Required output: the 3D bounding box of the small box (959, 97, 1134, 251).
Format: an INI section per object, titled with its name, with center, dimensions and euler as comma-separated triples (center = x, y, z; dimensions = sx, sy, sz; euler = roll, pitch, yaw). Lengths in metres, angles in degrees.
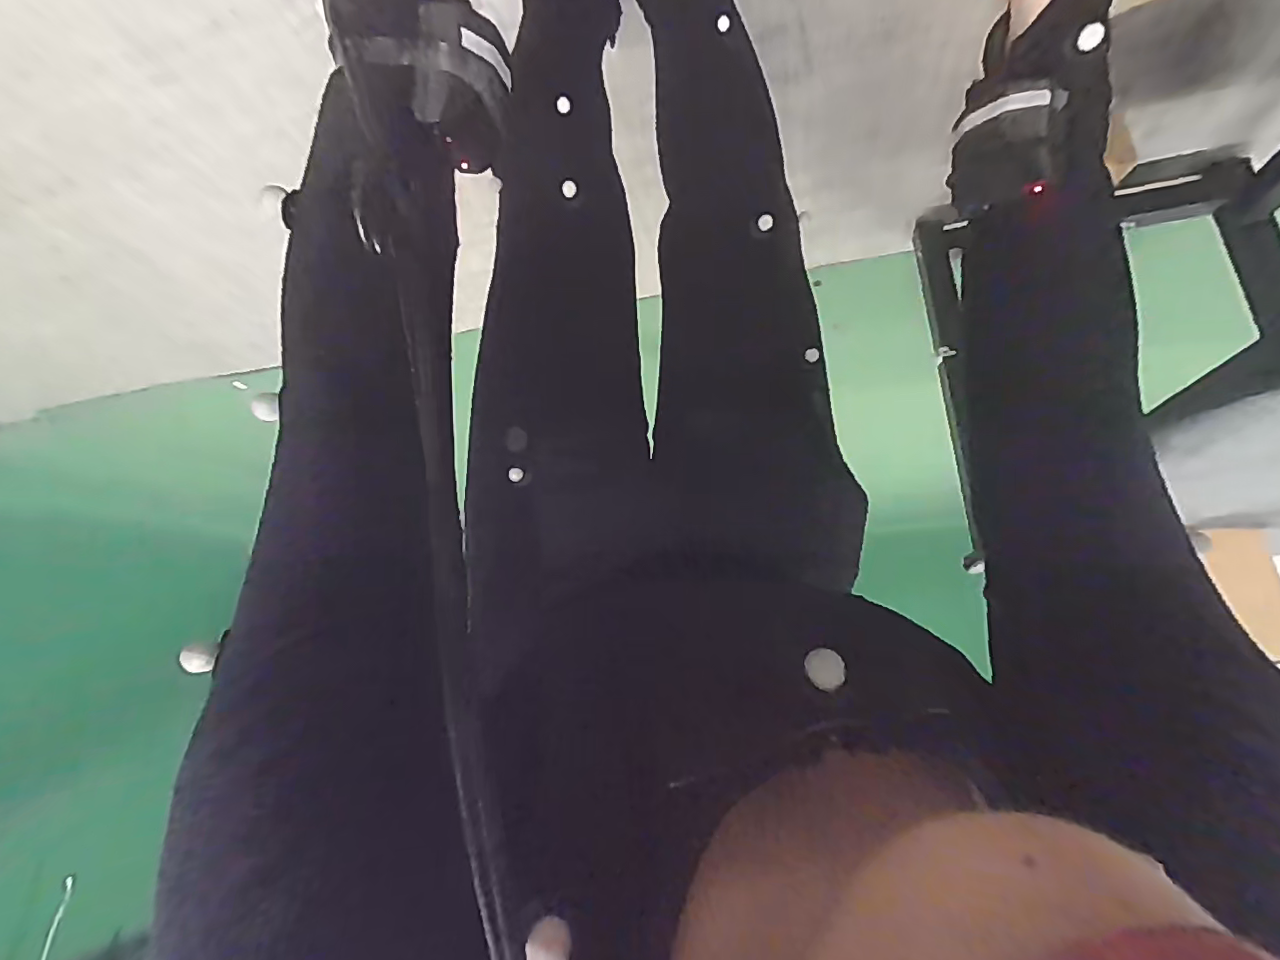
[small box]
center = 0.682, -0.527, 0.936
dimensions = 0.168, 0.176, 0.179
euler = -1, 164, 3
